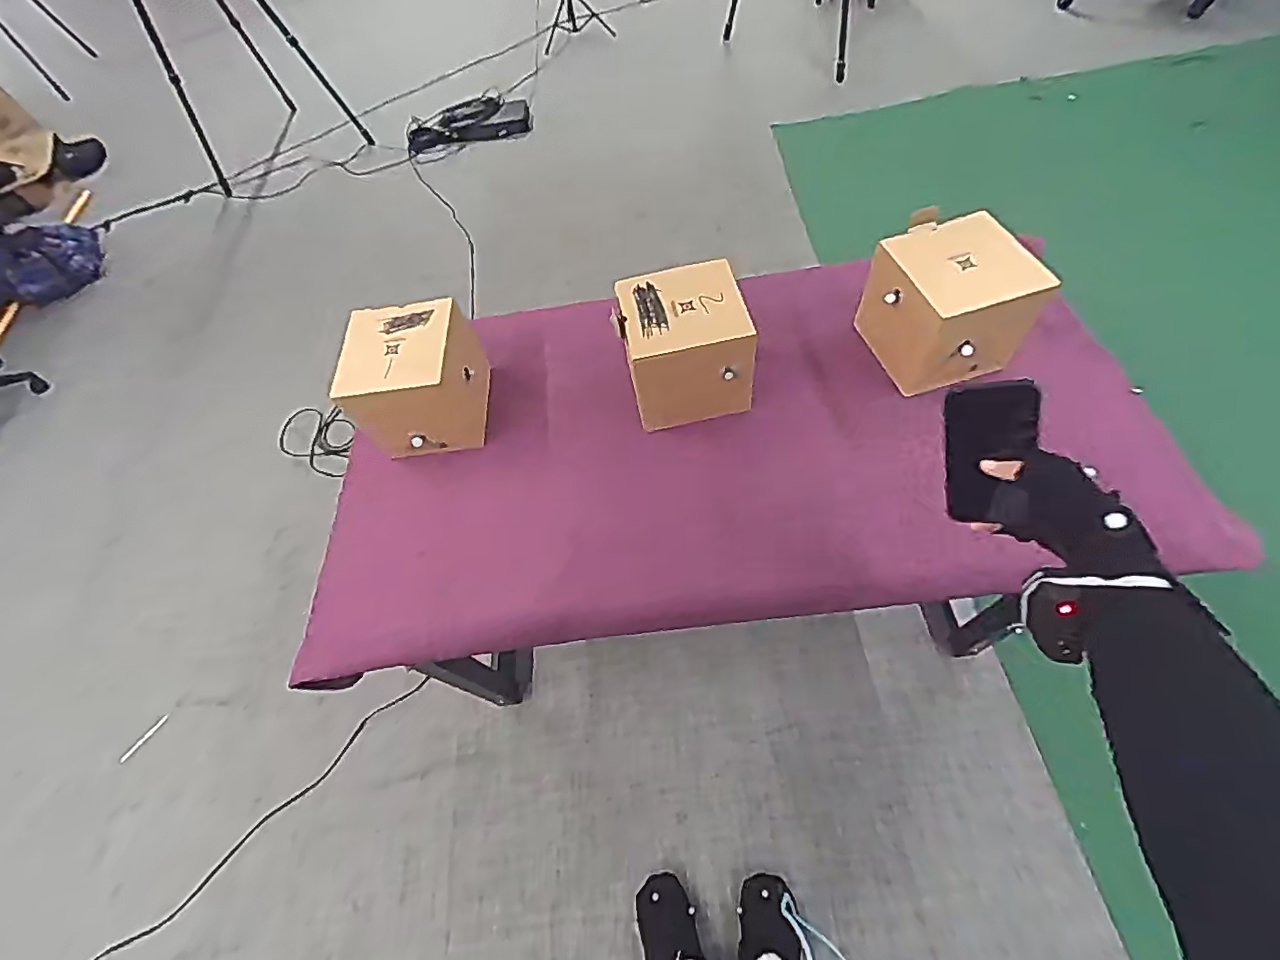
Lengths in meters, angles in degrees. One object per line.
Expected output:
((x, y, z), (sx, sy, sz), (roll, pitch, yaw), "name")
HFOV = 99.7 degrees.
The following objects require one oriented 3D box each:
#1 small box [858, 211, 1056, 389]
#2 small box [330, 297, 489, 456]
((0.454, -0.258, 0.809), (0.168, 0.176, 0.179), (-17, 58, -1), "small box")
((-0.352, -0.160, 0.864), (0.168, 0.176, 0.179), (-7, 61, 4), "small box")
